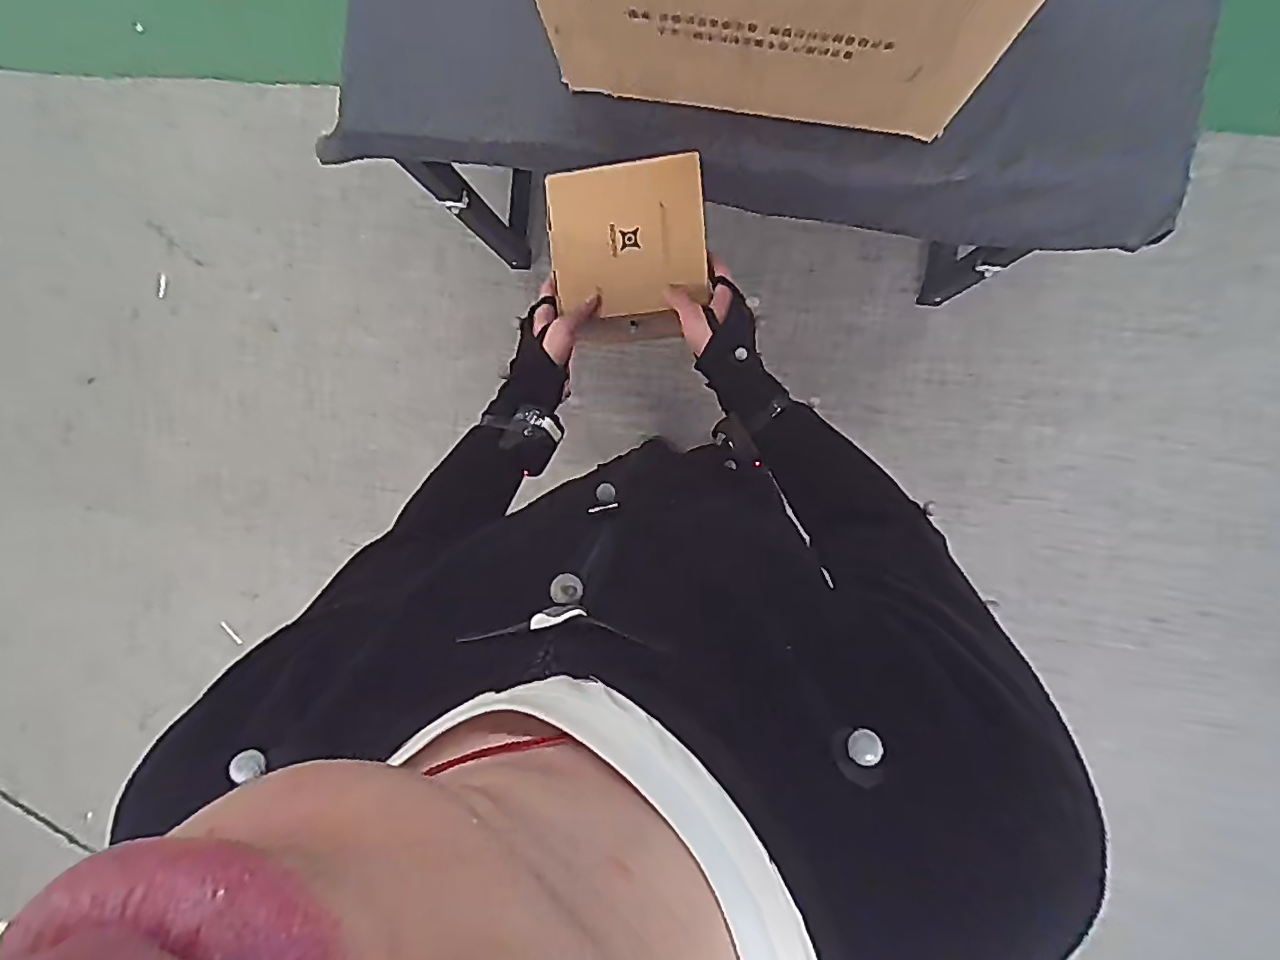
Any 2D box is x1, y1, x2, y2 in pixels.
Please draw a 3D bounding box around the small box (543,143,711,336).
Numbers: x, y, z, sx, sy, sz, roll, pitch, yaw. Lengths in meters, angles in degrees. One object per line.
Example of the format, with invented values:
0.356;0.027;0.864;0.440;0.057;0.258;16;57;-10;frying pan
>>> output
-0.007;-0.283;0.676;0.179;0.176;0.168;-6;96;5;small box
